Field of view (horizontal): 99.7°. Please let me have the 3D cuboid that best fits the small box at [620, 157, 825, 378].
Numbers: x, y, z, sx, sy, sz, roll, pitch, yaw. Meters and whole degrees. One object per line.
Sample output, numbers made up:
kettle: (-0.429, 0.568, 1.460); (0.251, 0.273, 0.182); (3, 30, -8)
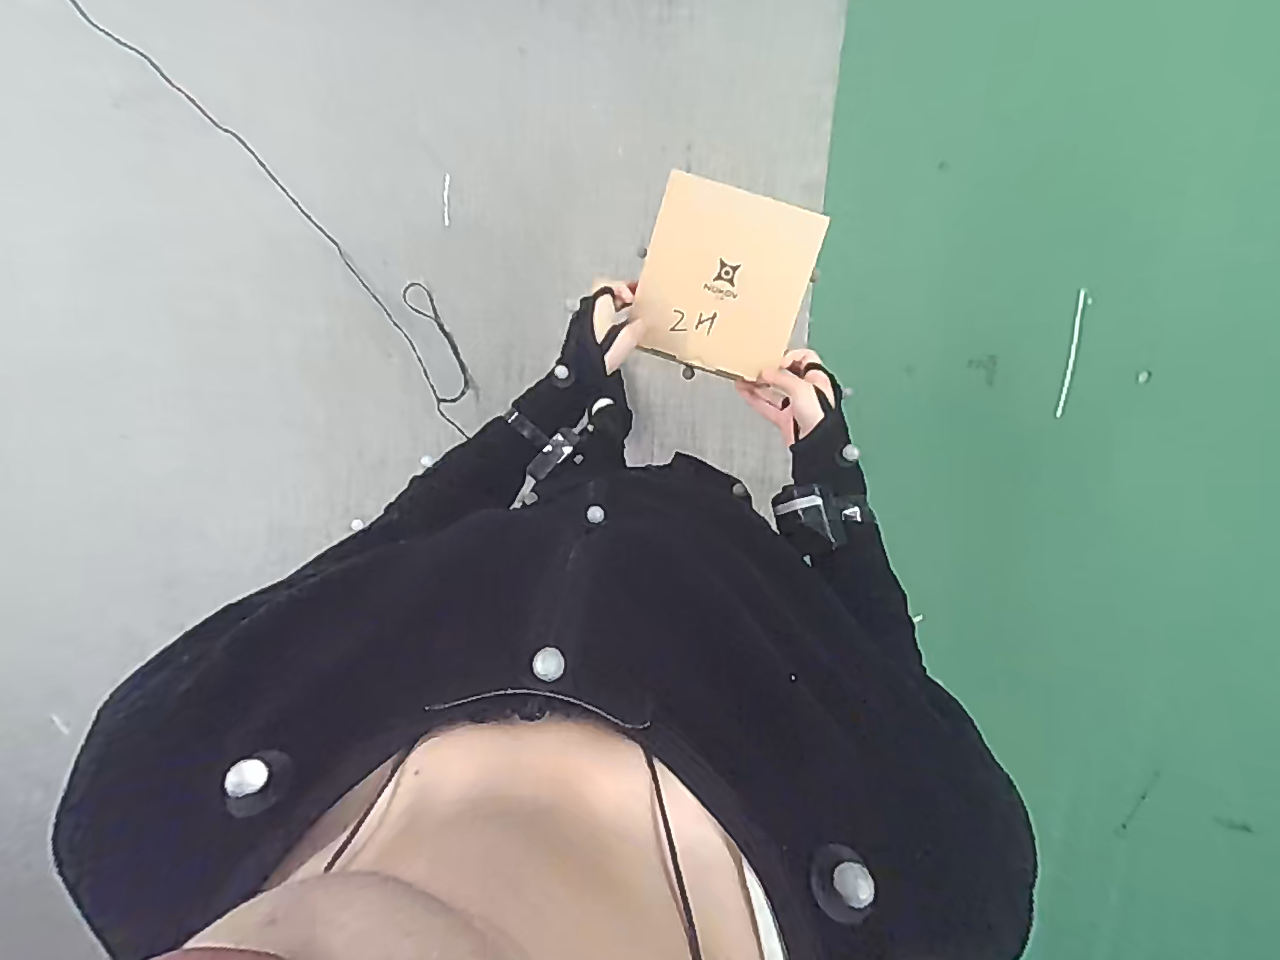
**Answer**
small box: (0.083, -0.224, 0.616); (0.168, 0.176, 0.179); (17, 103, 0)
